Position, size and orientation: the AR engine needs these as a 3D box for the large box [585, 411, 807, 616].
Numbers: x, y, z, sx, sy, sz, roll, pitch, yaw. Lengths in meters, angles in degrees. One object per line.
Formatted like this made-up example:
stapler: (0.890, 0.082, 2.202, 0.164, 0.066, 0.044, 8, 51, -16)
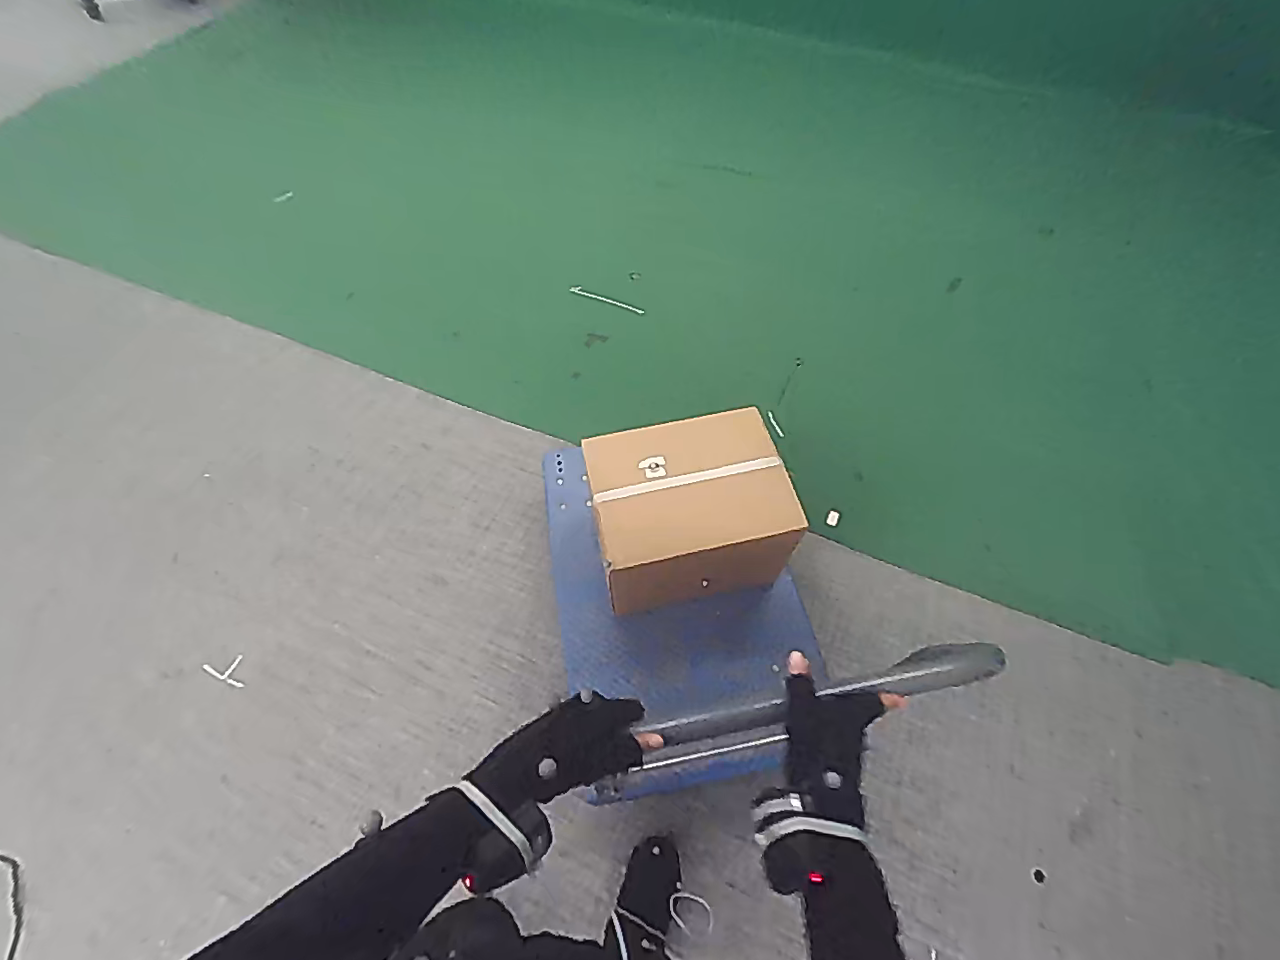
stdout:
large box: (0.110, 0.086, 1.256, 0.408, 0.320, 0.320, -12, 59, -7)
